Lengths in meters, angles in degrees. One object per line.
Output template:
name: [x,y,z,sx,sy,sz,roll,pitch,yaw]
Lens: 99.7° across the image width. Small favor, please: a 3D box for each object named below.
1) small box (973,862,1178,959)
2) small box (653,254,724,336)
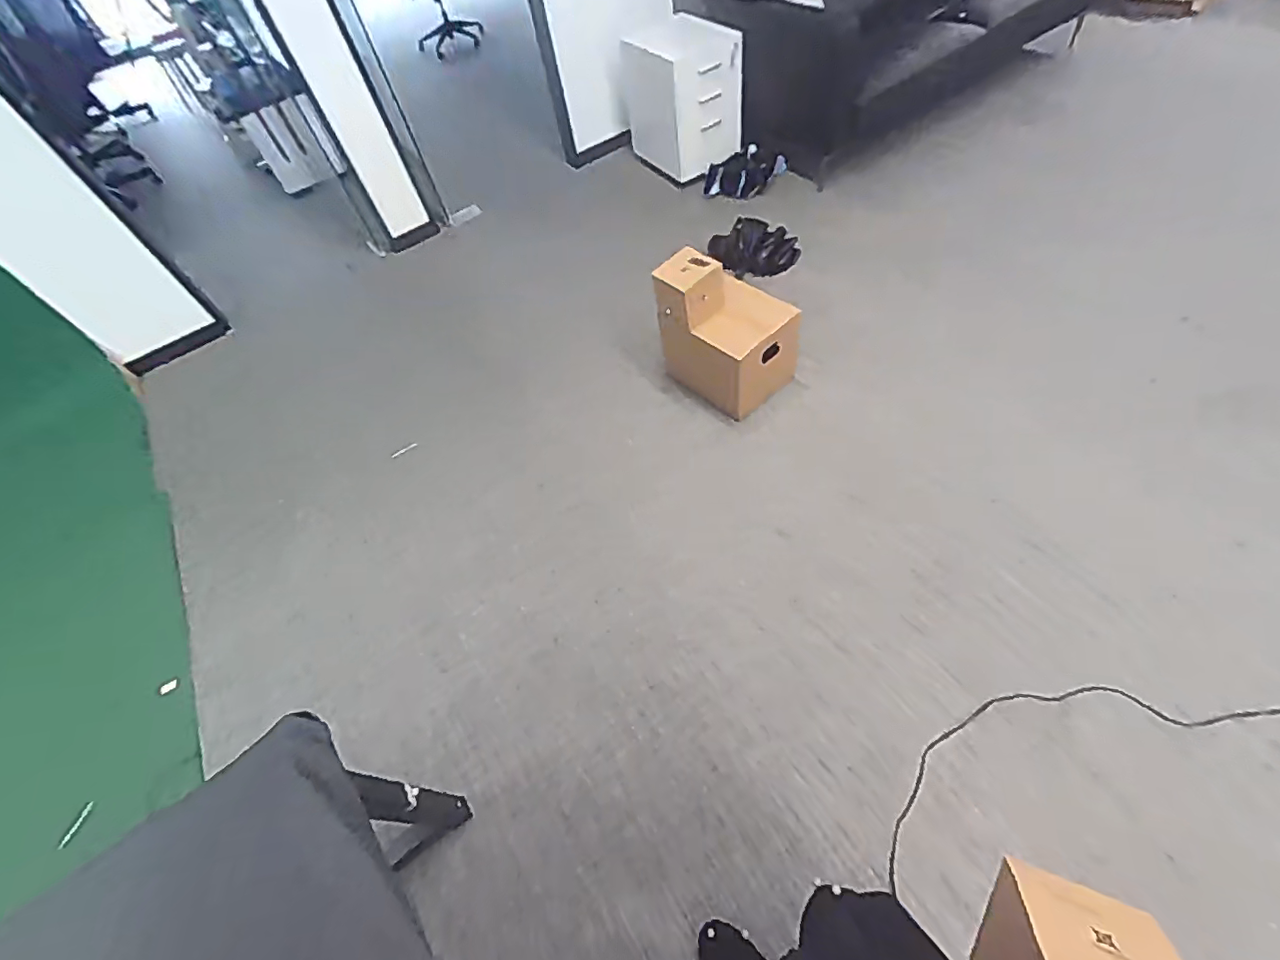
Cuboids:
small box: [0.508,0.609,0.621,0.168,0.179,0.176,16,98,19]
small box: [0.171,-0.632,1.854,0.179,0.176,0.168,-41,57,-13]
